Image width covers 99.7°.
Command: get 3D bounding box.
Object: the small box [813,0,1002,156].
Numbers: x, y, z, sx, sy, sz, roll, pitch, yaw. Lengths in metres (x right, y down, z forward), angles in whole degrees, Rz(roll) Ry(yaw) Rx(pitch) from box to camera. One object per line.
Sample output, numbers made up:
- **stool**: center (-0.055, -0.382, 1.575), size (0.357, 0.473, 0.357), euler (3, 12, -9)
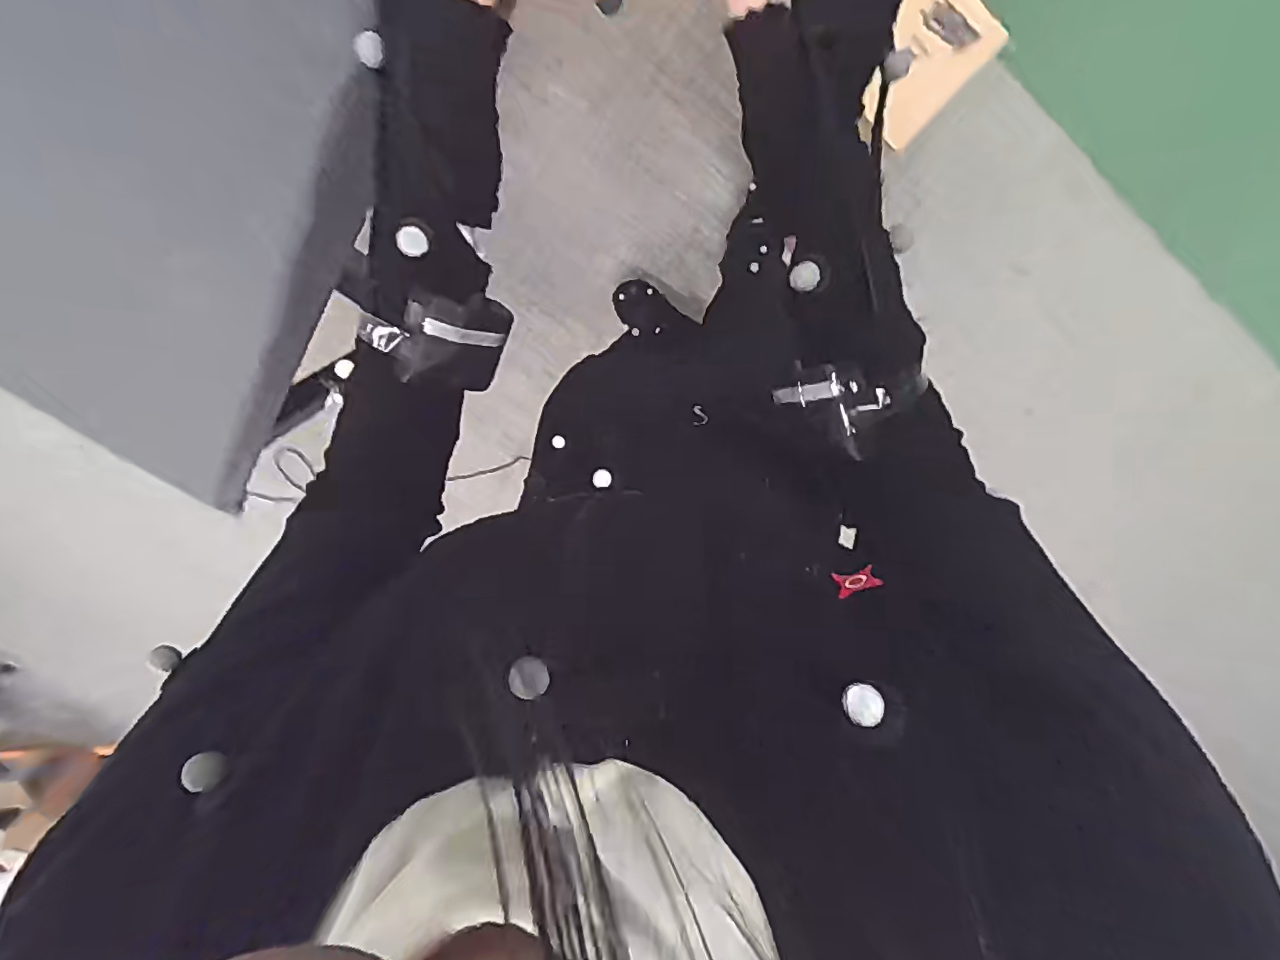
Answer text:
- **small box**: center (0.382, -0.624, 0.808), size (0.168, 0.176, 0.179), euler (40, 120, -15)
